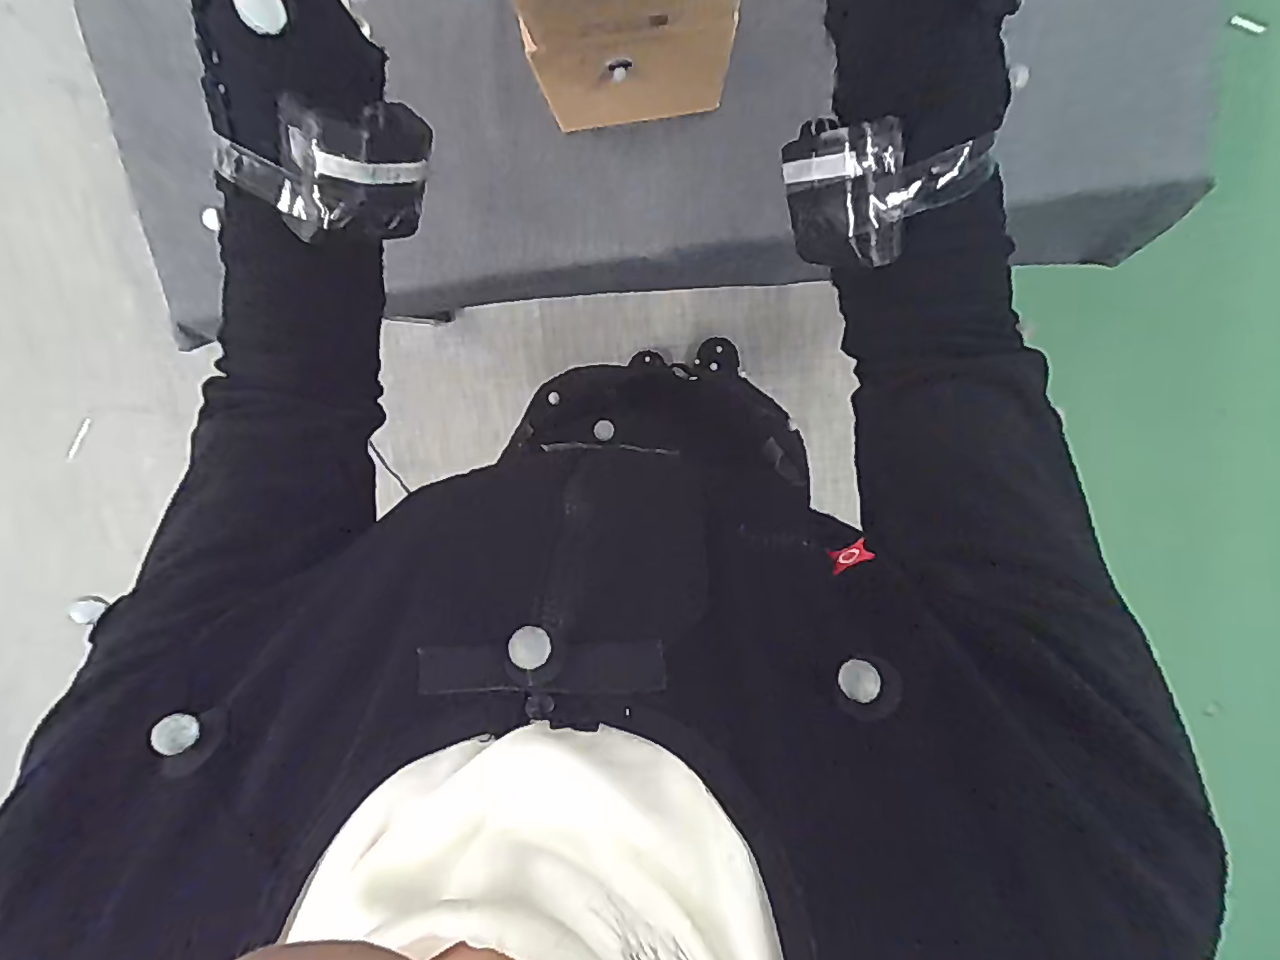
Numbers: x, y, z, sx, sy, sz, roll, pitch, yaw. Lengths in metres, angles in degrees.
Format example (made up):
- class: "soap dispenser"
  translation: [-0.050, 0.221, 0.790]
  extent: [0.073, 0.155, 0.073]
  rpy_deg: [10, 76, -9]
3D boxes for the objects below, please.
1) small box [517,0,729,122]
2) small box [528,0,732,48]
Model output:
- class: "small box"
  translation: [-0.016, -0.465, 0.505]
  extent: [0.179, 0.176, 0.168]
  rpy_deg: [-6, 103, 4]
- class: "small box"
  translation: [-0.017, -0.431, 0.347]
  extent: [0.168, 0.176, 0.179]
  rpy_deg: [-8, 104, 3]
